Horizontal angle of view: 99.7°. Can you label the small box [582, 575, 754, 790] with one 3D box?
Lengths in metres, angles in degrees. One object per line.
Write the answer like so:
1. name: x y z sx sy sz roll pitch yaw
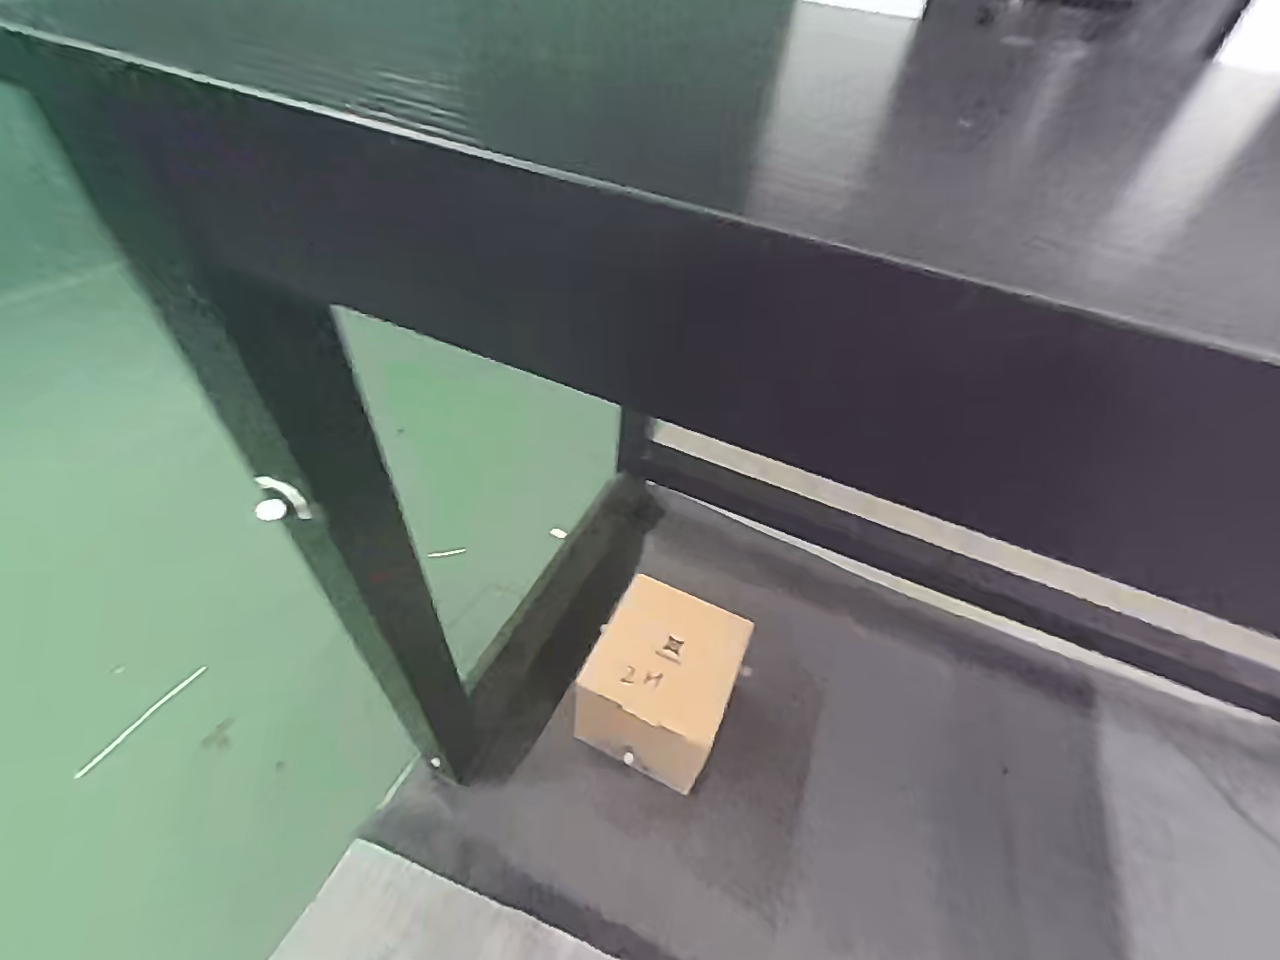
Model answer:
1. small box: 0.032 0.265 0.713 0.168 0.176 0.179 21 46 14
